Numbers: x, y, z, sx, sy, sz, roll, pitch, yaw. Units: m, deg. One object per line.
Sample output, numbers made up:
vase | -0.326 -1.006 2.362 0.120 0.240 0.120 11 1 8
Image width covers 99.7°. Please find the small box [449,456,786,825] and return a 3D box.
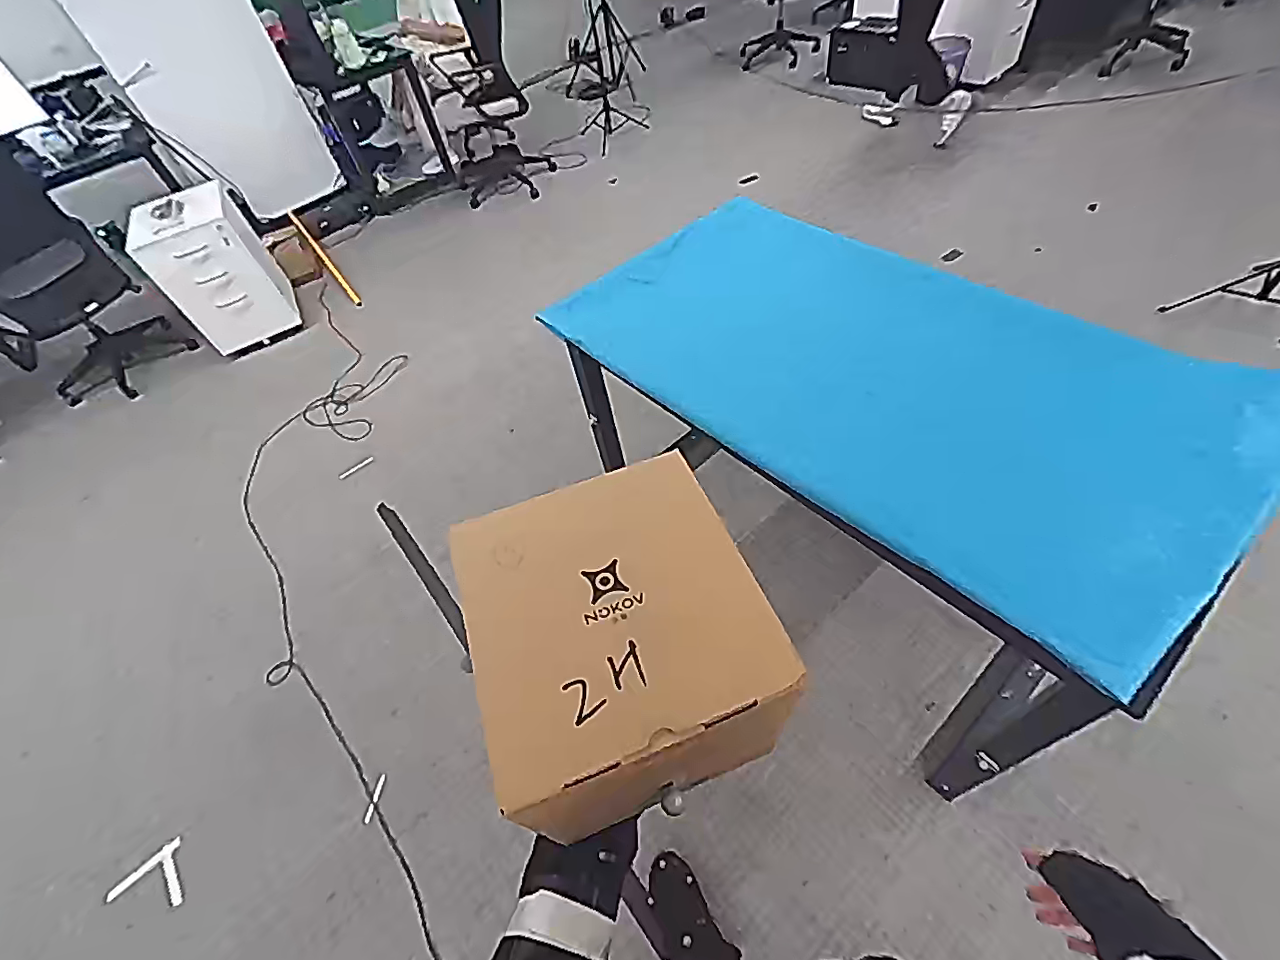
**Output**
small box | -0.019 0.117 0.381 0.168 0.176 0.179 -17 55 -6
